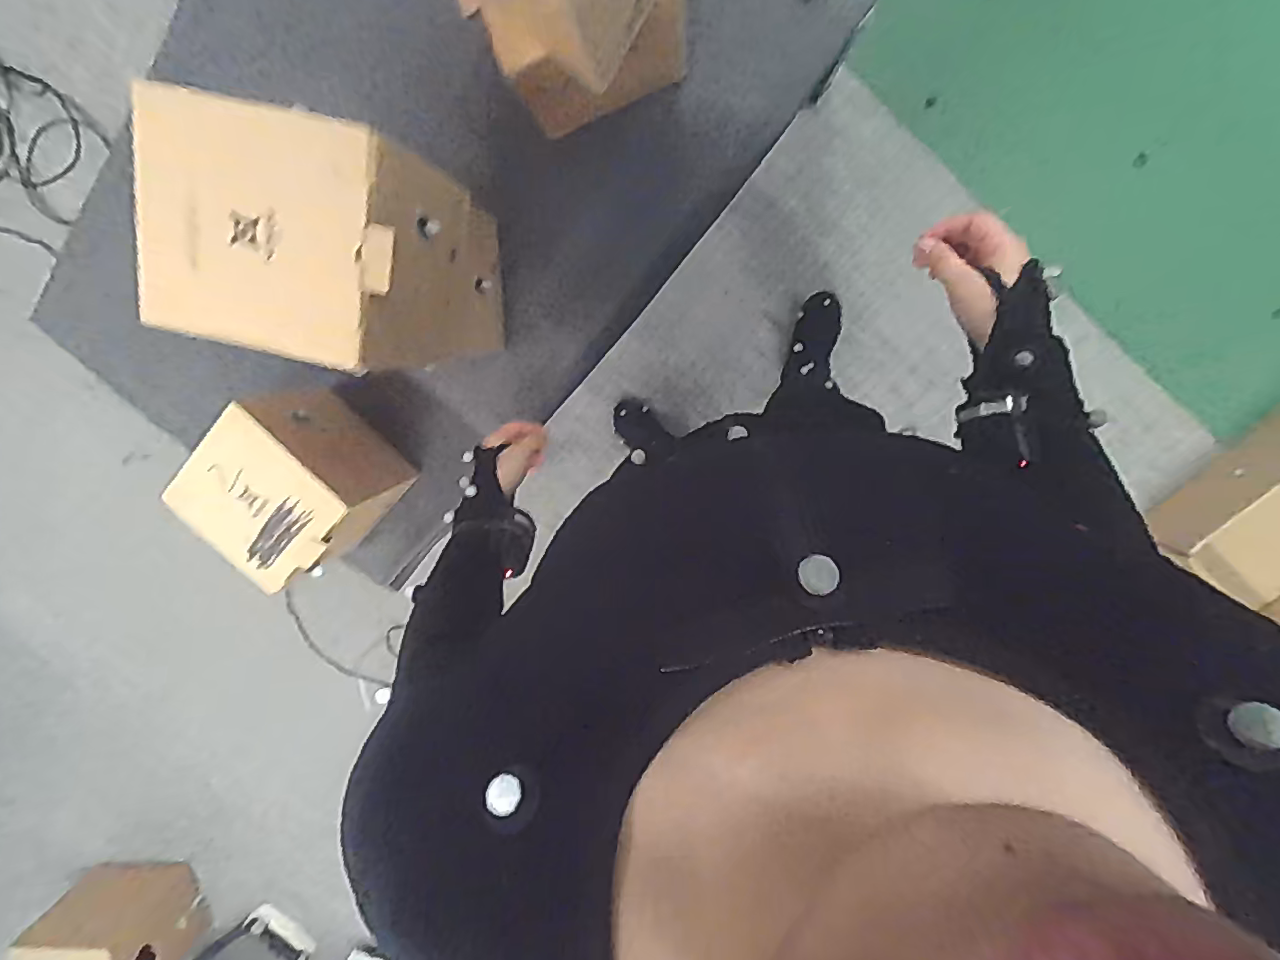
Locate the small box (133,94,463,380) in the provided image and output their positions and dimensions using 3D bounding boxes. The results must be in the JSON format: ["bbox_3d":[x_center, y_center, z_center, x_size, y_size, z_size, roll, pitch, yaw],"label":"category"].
[{"bbox_3d":[-0.271,-0.190,0.465,0.179,0.176,0.168,12,105,3],"label":"small box"}]

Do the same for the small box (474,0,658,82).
[{"bbox_3d":[-0.067,-0.433,0.379,0.179,0.176,0.168,35,106,-4],"label":"small box"}]

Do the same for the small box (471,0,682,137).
[{"bbox_3d":[-0.066,-0.484,0.536,0.179,0.176,0.168,-19,102,11],"label":"small box"}]

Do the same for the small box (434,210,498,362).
[{"bbox_3d":[-0.272,-0.224,0.625,0.179,0.176,0.168,1,104,5],"label":"small box"}]
